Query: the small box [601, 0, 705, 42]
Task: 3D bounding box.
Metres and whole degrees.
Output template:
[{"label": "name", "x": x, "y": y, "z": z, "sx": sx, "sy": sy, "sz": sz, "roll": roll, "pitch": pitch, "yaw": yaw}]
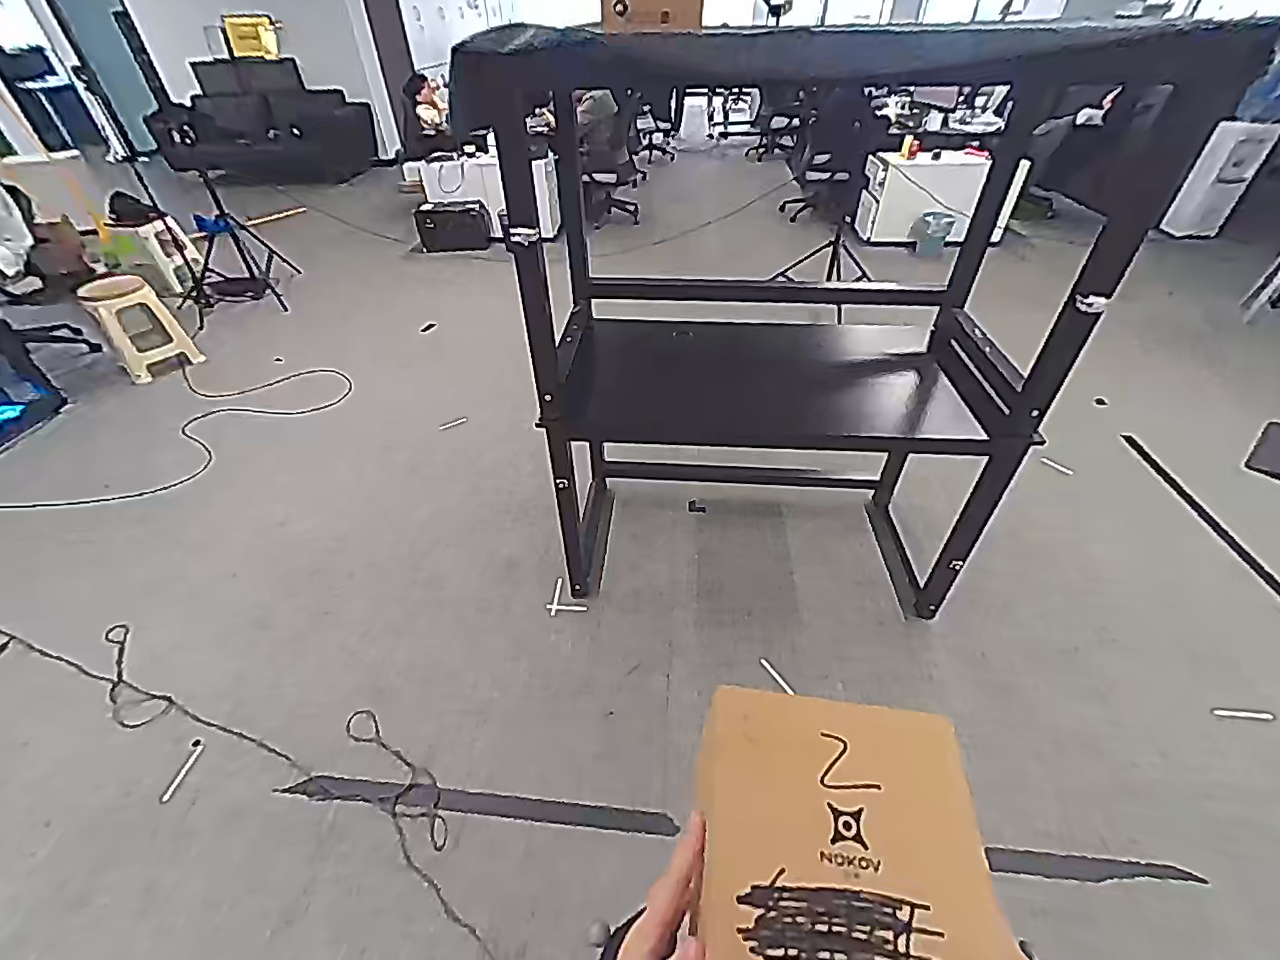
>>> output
[{"label": "small box", "x": 0.023, "y": -0.829, "z": 0.883, "sx": 0.168, "sy": 0.176, "sz": 0.179, "roll": 2, "pitch": 39, "yaw": 1}]
